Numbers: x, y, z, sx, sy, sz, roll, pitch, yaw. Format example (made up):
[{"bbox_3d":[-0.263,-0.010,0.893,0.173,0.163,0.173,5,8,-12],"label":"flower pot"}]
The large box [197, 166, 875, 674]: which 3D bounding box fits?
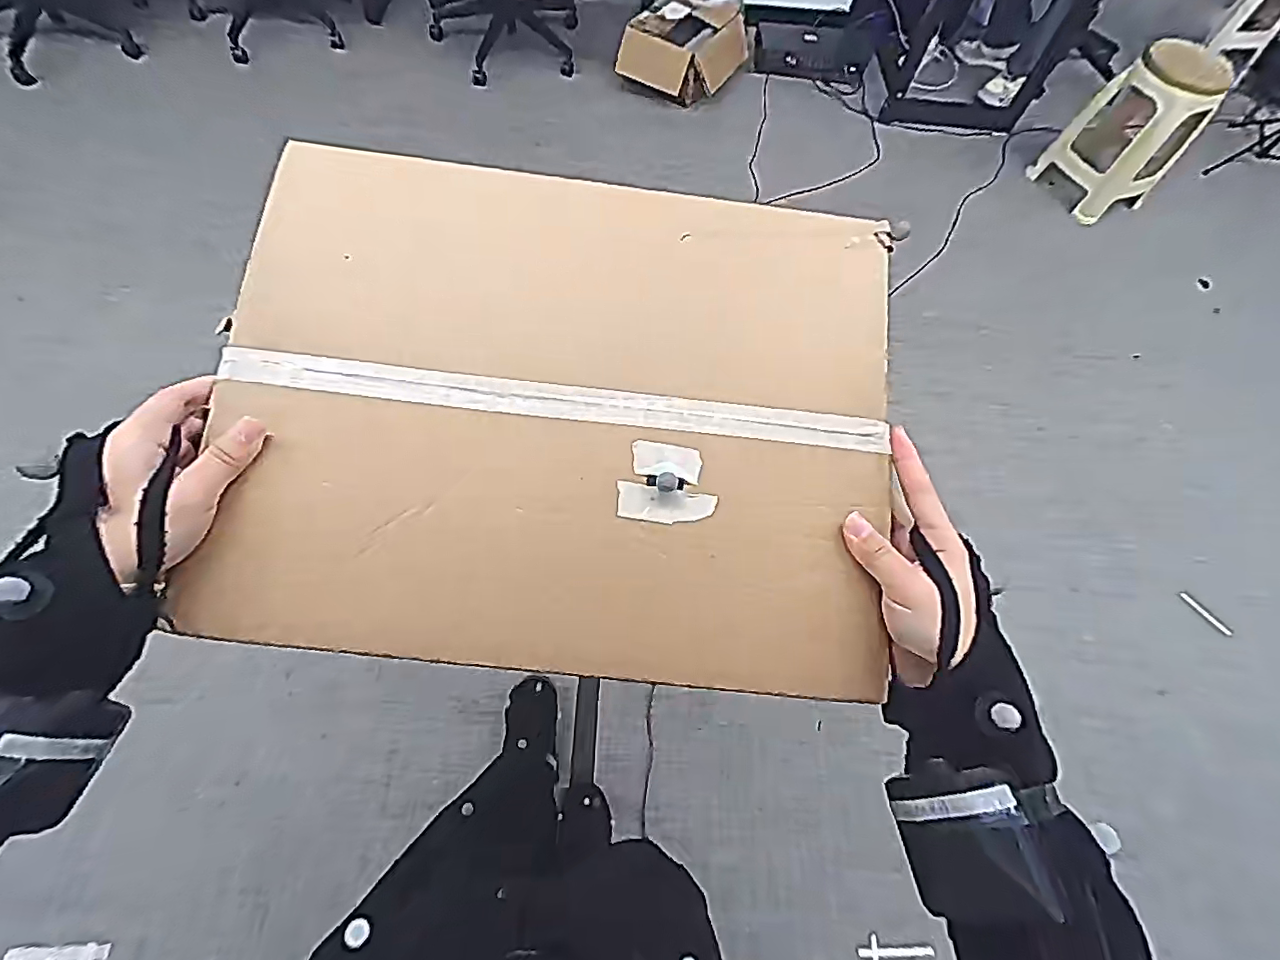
[{"bbox_3d":[-0.055,-0.019,0.493,0.408,0.320,0.320,7,78,-3],"label":"large box"}]
